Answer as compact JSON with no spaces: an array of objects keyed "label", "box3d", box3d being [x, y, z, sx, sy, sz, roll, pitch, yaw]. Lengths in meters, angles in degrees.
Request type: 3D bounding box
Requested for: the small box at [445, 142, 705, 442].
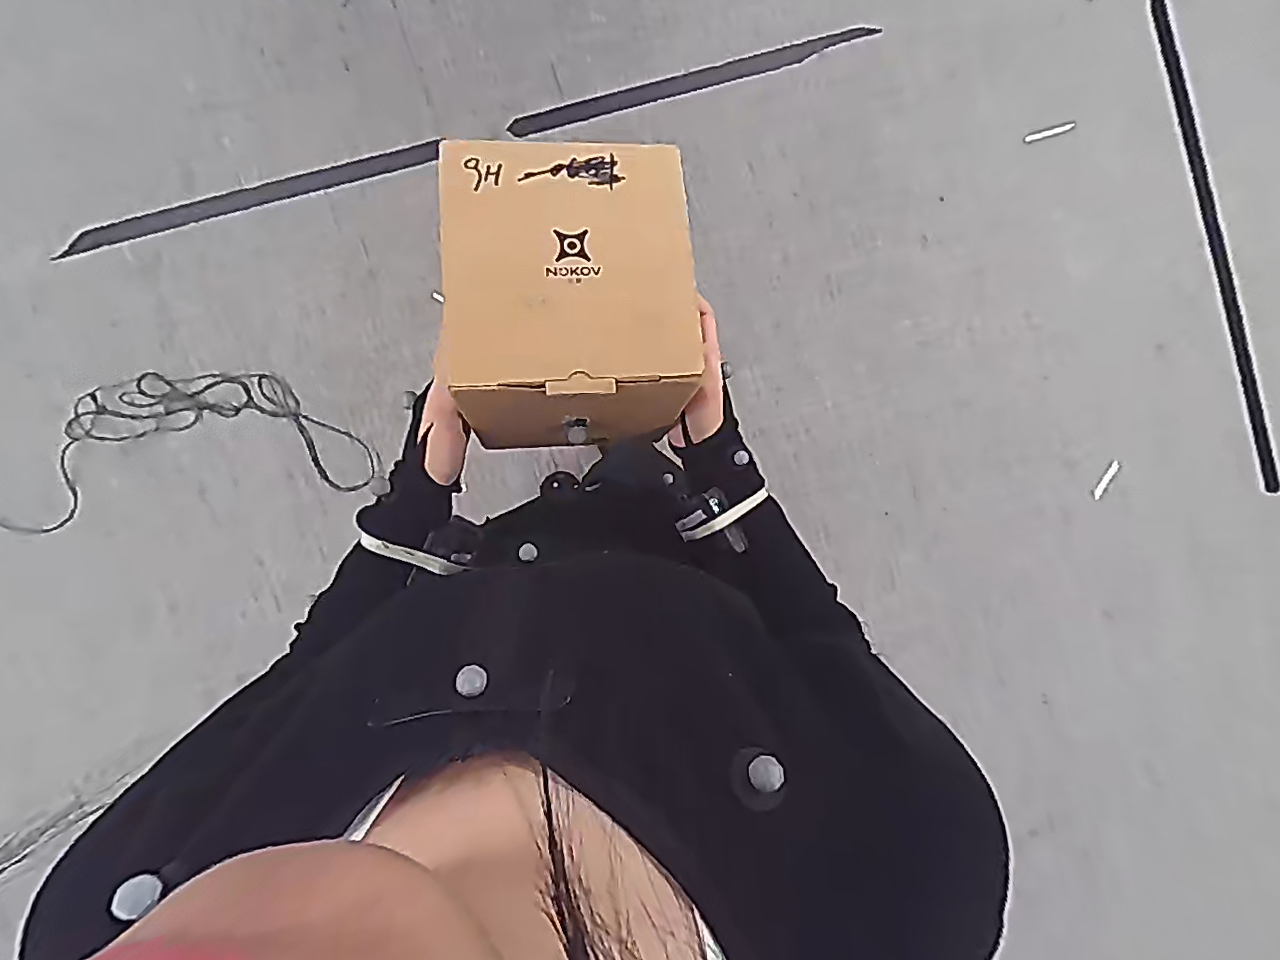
[{"label":"small box","box3d":[-0.053,-0.129,0.433,0.168,0.176,0.179,-3,82,-9]}]
